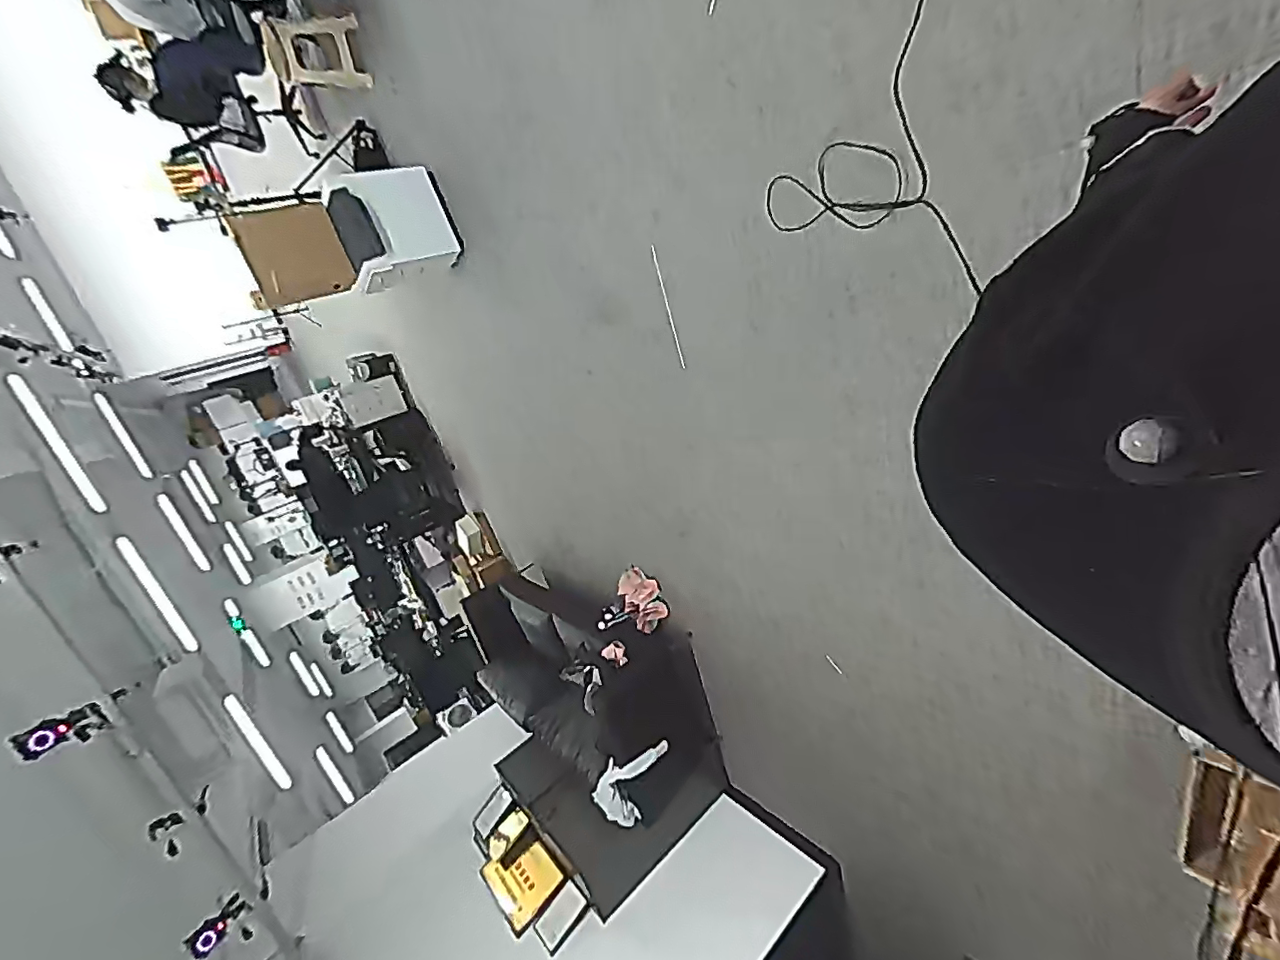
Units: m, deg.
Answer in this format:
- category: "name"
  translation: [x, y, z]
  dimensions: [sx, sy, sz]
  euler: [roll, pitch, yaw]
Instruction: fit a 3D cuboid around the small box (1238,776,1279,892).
- category: "small box"
  translation: [1.445, 0.791, 1.176]
  dimensions: [0.179, 0.176, 0.168]
  euler: [8, 119, 51]
